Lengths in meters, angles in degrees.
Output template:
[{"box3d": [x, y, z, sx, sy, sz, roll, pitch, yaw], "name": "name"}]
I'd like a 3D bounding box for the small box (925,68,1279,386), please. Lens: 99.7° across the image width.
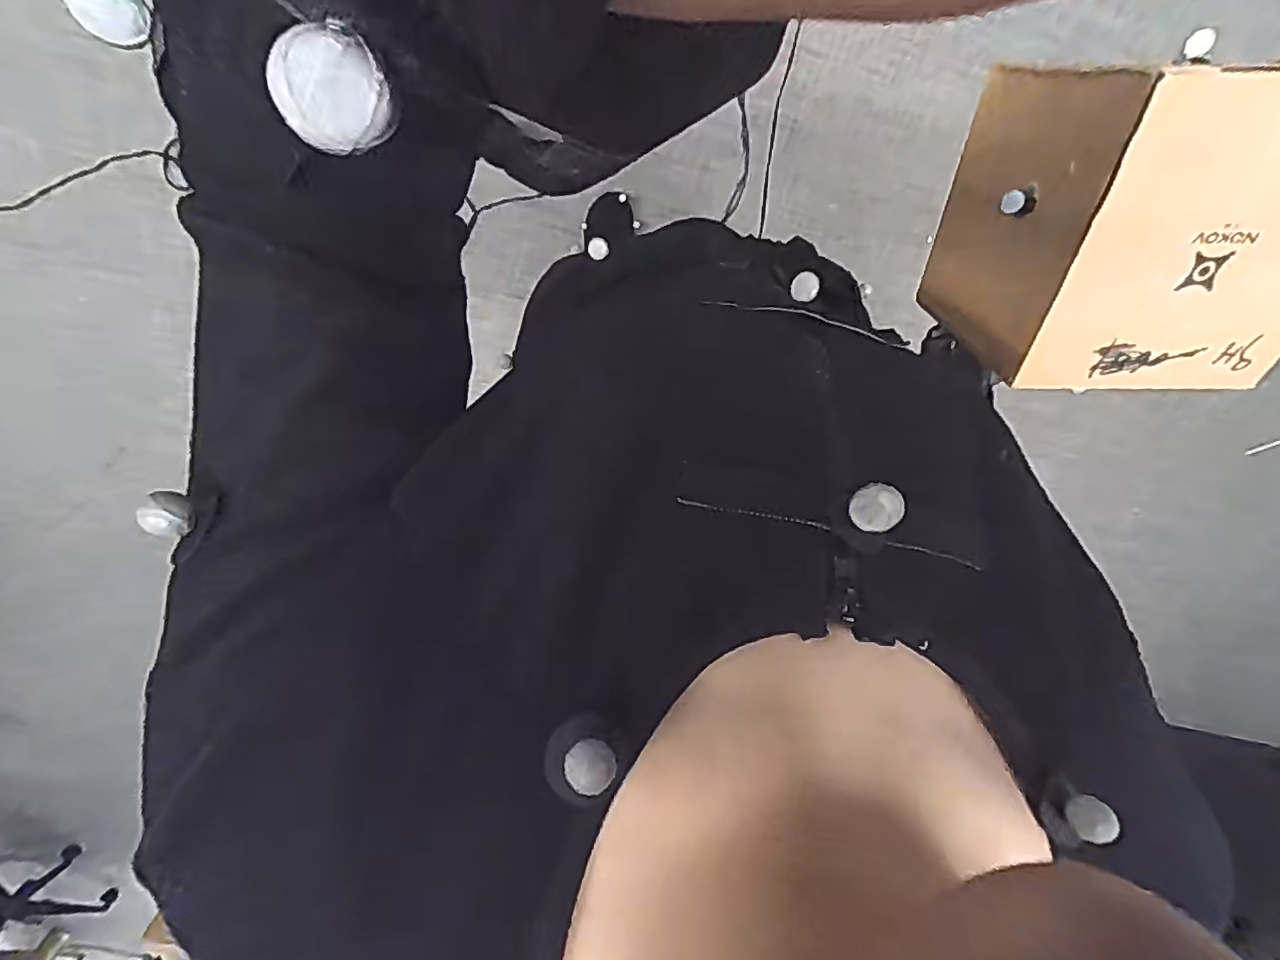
[{"box3d": [0.335, -0.182, 0.385, 0.168, 0.176, 0.179, 0, 127, 1], "name": "small box"}]
